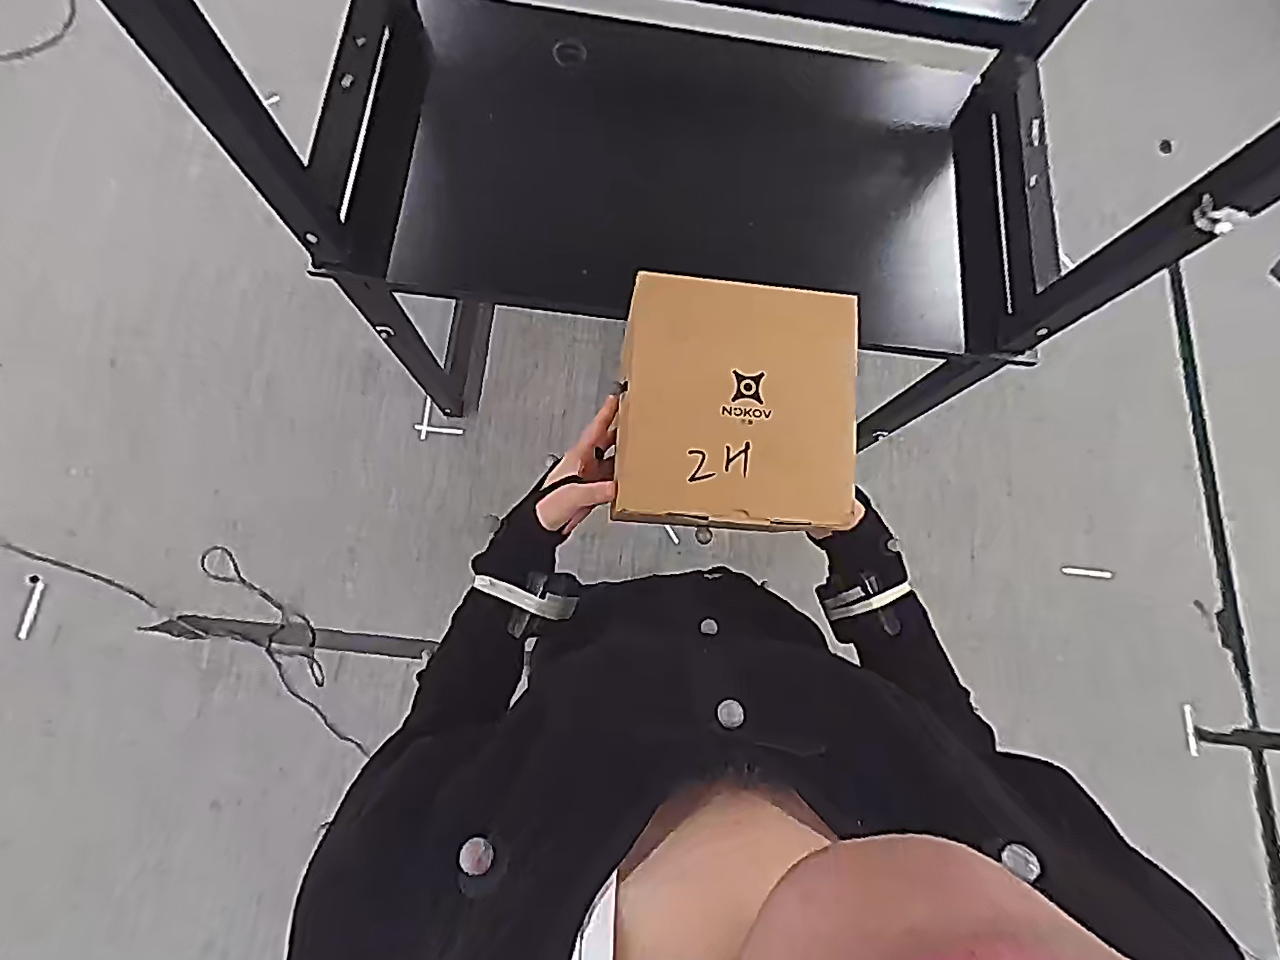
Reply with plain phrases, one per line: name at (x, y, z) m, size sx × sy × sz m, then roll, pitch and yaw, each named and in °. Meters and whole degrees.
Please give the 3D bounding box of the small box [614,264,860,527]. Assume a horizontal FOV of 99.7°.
small box at (0.068, -0.054, 0.462) m, size 0.168 × 0.176 × 0.179 m, roll 4°, pitch 84°, yaw -5°
